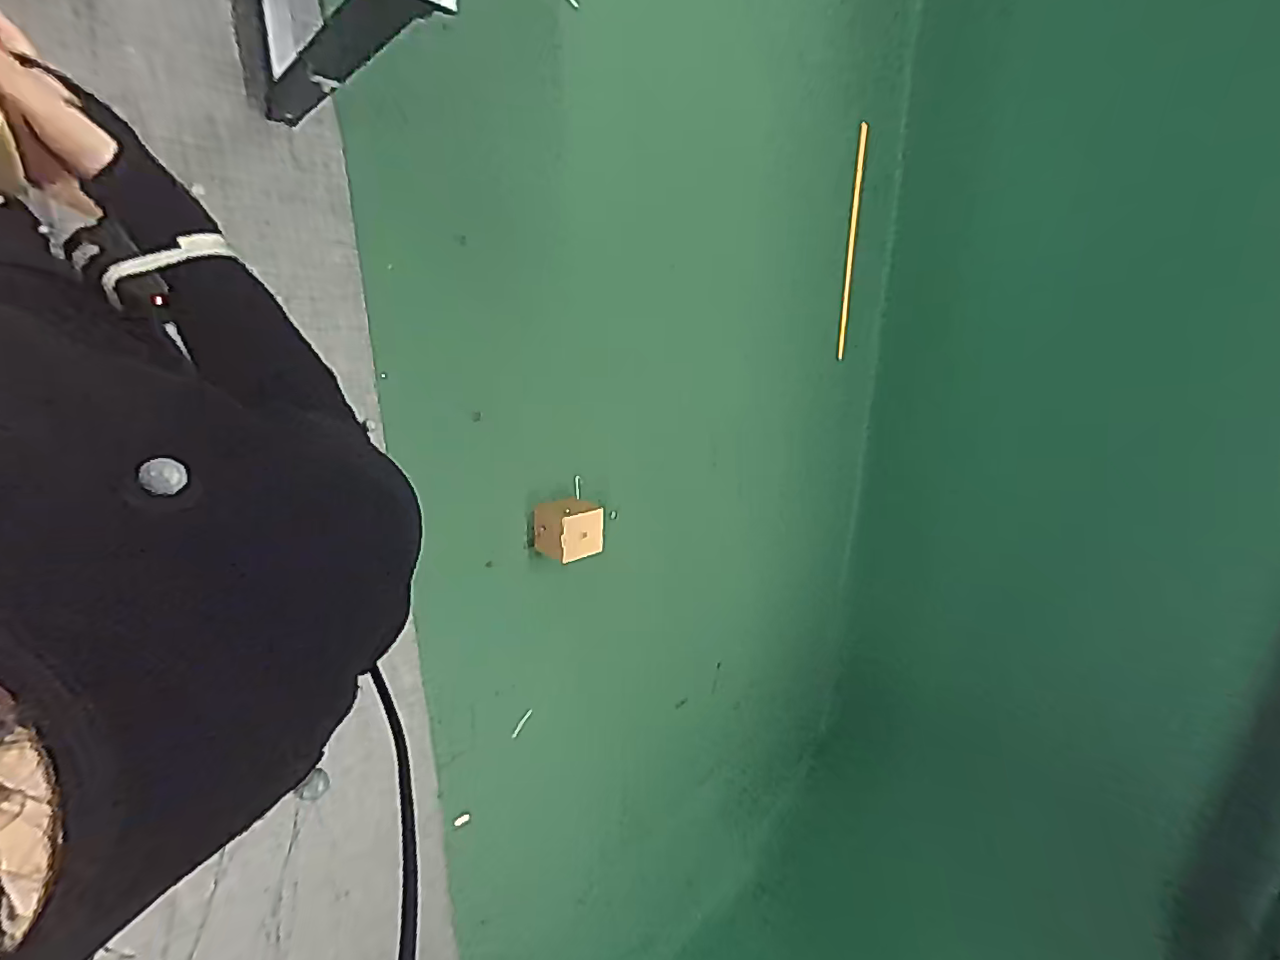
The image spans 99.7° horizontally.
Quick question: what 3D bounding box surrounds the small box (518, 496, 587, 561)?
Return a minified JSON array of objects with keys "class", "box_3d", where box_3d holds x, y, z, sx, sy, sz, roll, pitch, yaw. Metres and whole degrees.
[{"class":"small box","box_3d":[-0.309,0.164,1.908,0.179,0.176,0.168,-13,112,-44]}]
